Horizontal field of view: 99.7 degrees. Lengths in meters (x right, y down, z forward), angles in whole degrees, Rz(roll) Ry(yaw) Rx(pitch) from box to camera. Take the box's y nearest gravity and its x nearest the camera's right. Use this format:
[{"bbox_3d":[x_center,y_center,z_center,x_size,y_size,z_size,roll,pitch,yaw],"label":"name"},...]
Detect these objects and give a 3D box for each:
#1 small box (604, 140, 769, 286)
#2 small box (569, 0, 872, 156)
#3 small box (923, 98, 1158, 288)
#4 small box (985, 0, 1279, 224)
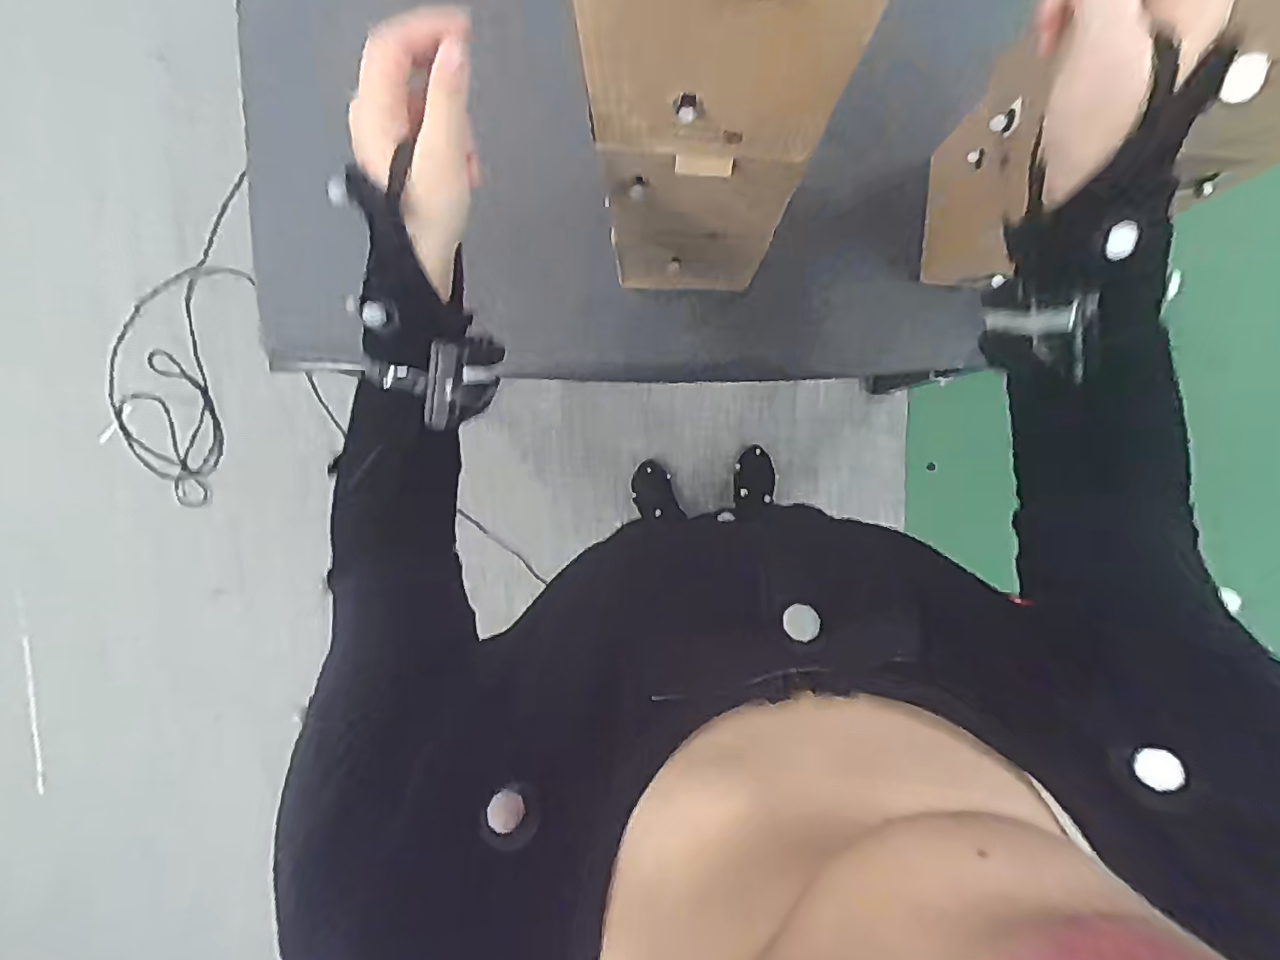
[{"bbox_3d":[0.055,-0.343,0.654,0.179,0.176,0.168,1,92,3],"label":"small box"},{"bbox_3d":[0.045,-0.336,0.326,0.168,0.176,0.179,4,92,1],"label":"small box"},{"bbox_3d":[0.458,-0.347,0.637,0.168,0.176,0.179,5,91,3],"label":"small box"},{"bbox_3d":[0.441,-0.346,0.475,0.179,0.176,0.168,-2,90,4],"label":"small box"}]
